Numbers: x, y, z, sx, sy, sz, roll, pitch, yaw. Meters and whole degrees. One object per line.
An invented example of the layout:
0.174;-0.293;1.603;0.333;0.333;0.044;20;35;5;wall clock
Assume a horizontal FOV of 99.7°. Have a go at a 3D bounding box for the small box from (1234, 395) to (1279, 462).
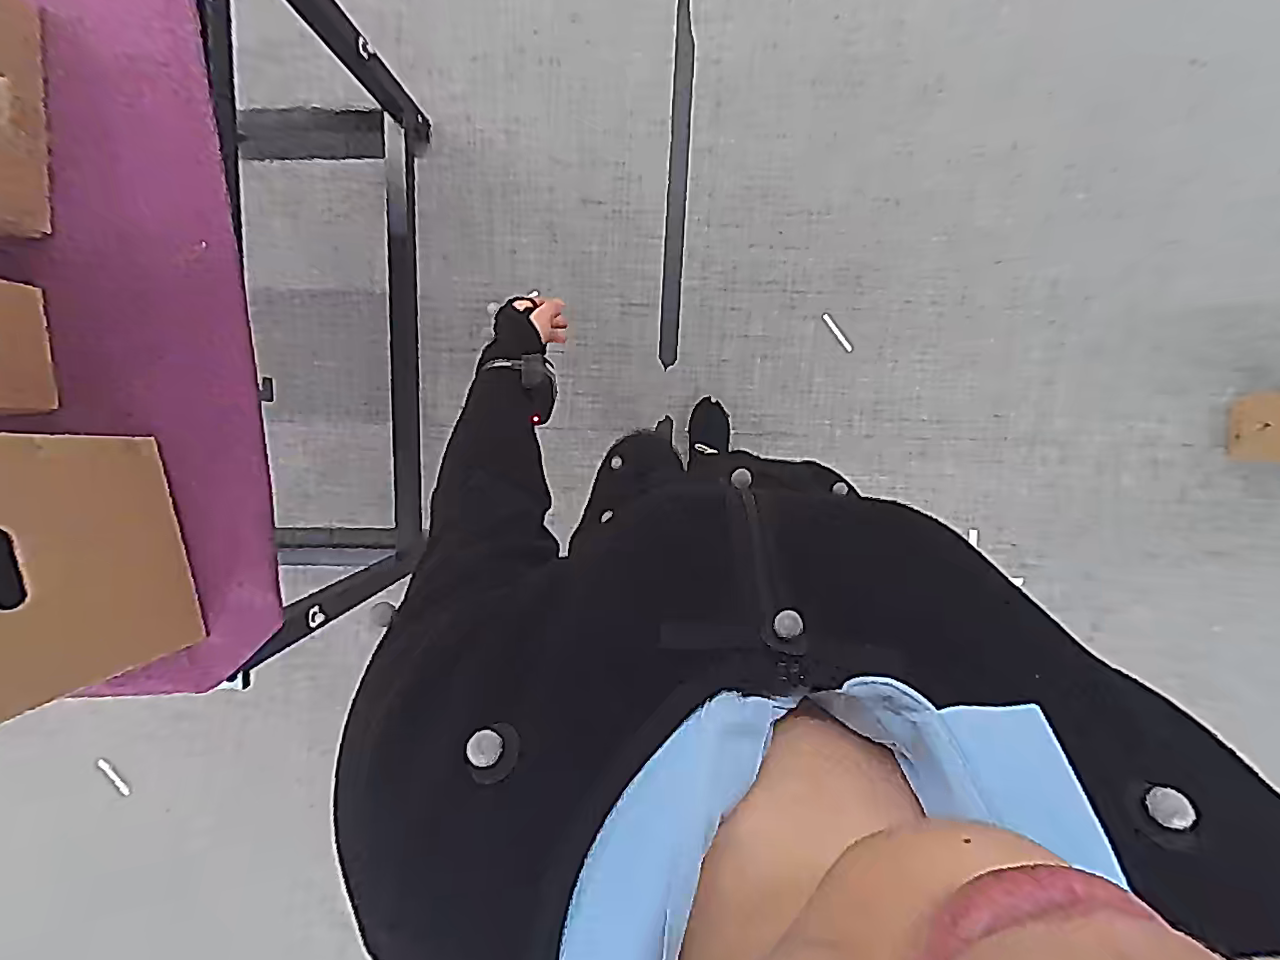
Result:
1.628;-0.128;1.324;0.179;0.176;0.168;-2;96;2;small box
